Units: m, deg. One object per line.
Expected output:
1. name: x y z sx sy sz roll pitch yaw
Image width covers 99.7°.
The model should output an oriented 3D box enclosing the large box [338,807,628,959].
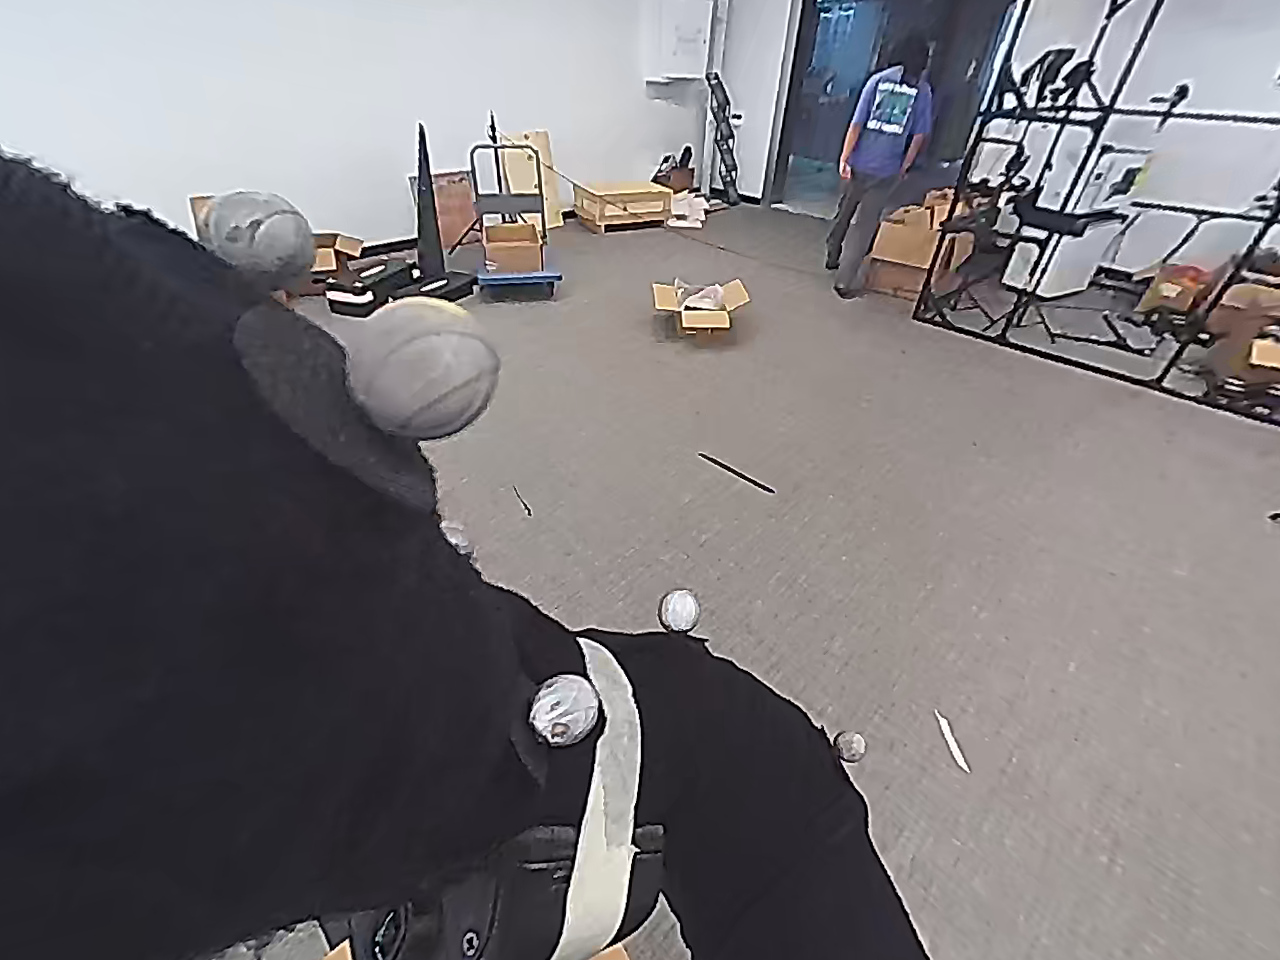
1. large box: -0.267 0.877 0.916 0.408 0.320 0.320 -26 45 -32
